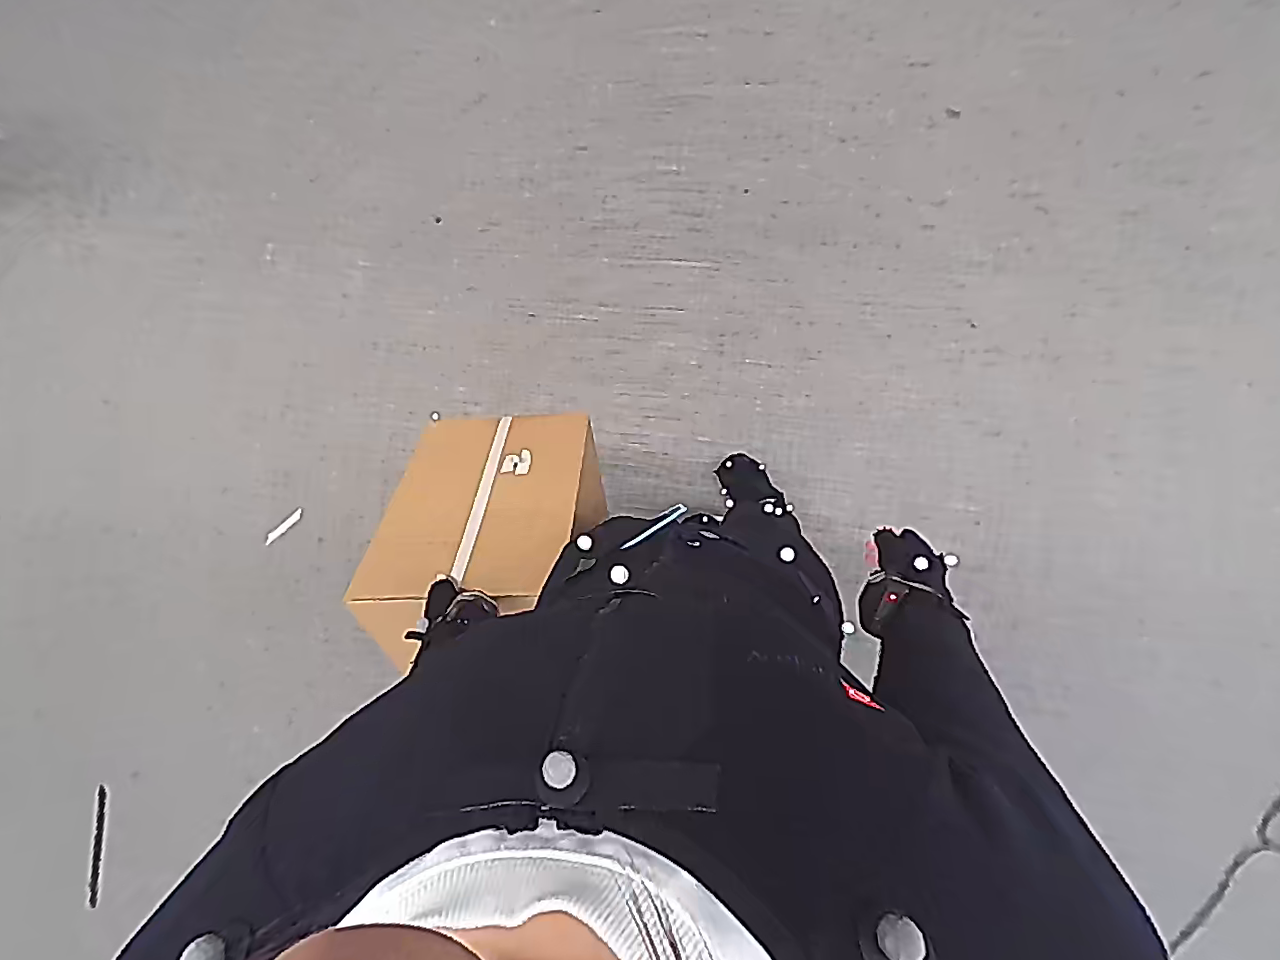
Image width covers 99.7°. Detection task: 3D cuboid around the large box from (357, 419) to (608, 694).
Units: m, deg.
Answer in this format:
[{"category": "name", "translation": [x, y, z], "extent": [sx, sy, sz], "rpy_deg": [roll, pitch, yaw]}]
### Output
[{"category": "large box", "translation": [-0.241, 0.136, 1.005], "extent": [0.320, 0.320, 0.408], "rpy_deg": [-2, 44, 5]}]
